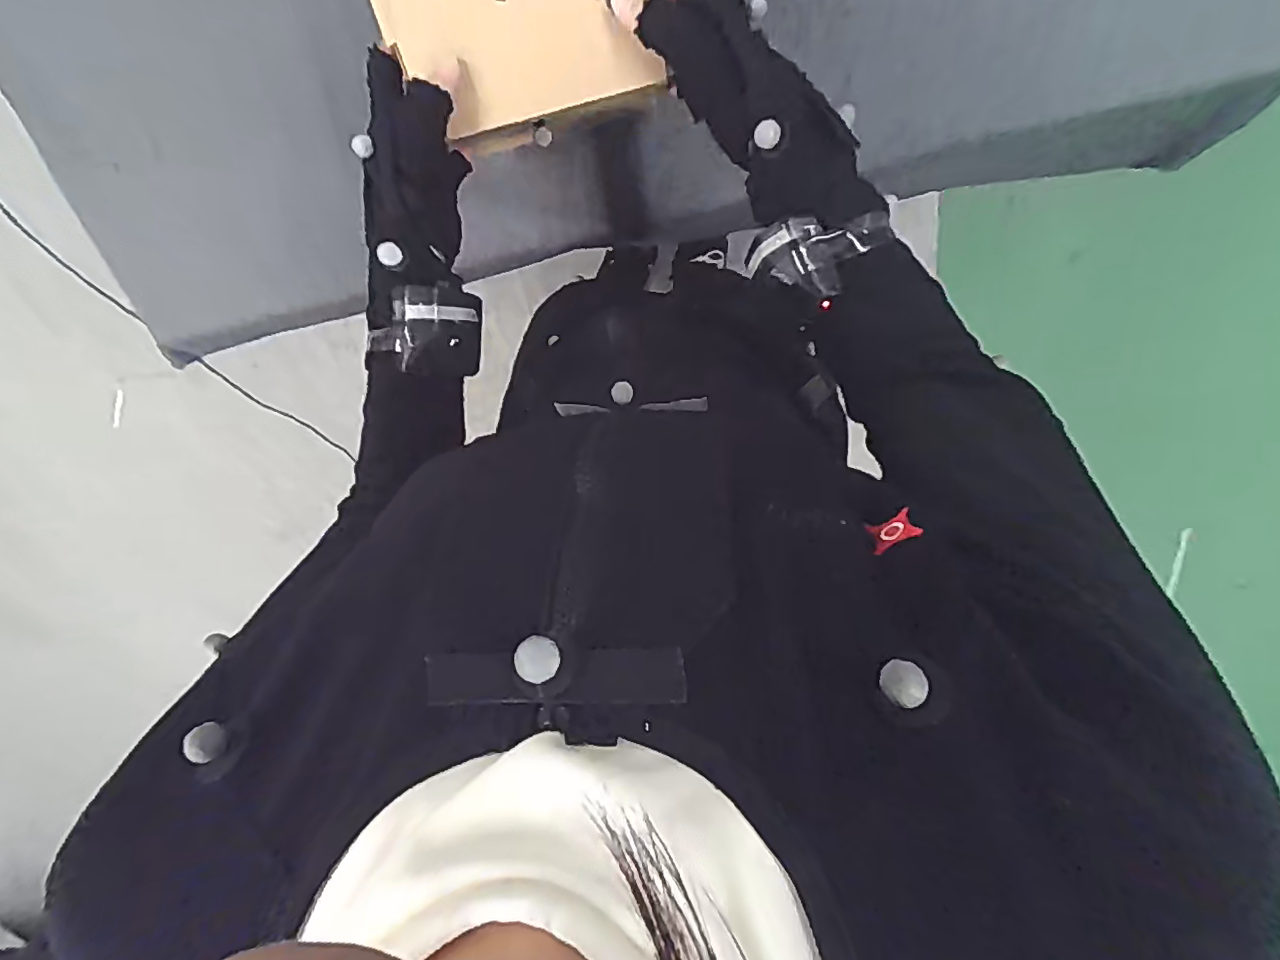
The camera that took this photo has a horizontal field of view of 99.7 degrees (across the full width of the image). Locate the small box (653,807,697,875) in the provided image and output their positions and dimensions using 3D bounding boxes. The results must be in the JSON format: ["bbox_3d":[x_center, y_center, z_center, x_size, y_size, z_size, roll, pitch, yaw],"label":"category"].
[{"bbox_3d":[0.139,1.418,2.131,0.168,0.176,0.179,-2,118,7],"label":"small box"}]

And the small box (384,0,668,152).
[{"bbox_3d":[-0.081,-0.367,0.407,0.179,0.176,0.168,-13,116,8],"label":"small box"}]

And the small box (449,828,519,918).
[{"bbox_3d":[-0.523,1.331,1.834,0.168,0.176,0.179,19,115,-5],"label":"small box"}]
